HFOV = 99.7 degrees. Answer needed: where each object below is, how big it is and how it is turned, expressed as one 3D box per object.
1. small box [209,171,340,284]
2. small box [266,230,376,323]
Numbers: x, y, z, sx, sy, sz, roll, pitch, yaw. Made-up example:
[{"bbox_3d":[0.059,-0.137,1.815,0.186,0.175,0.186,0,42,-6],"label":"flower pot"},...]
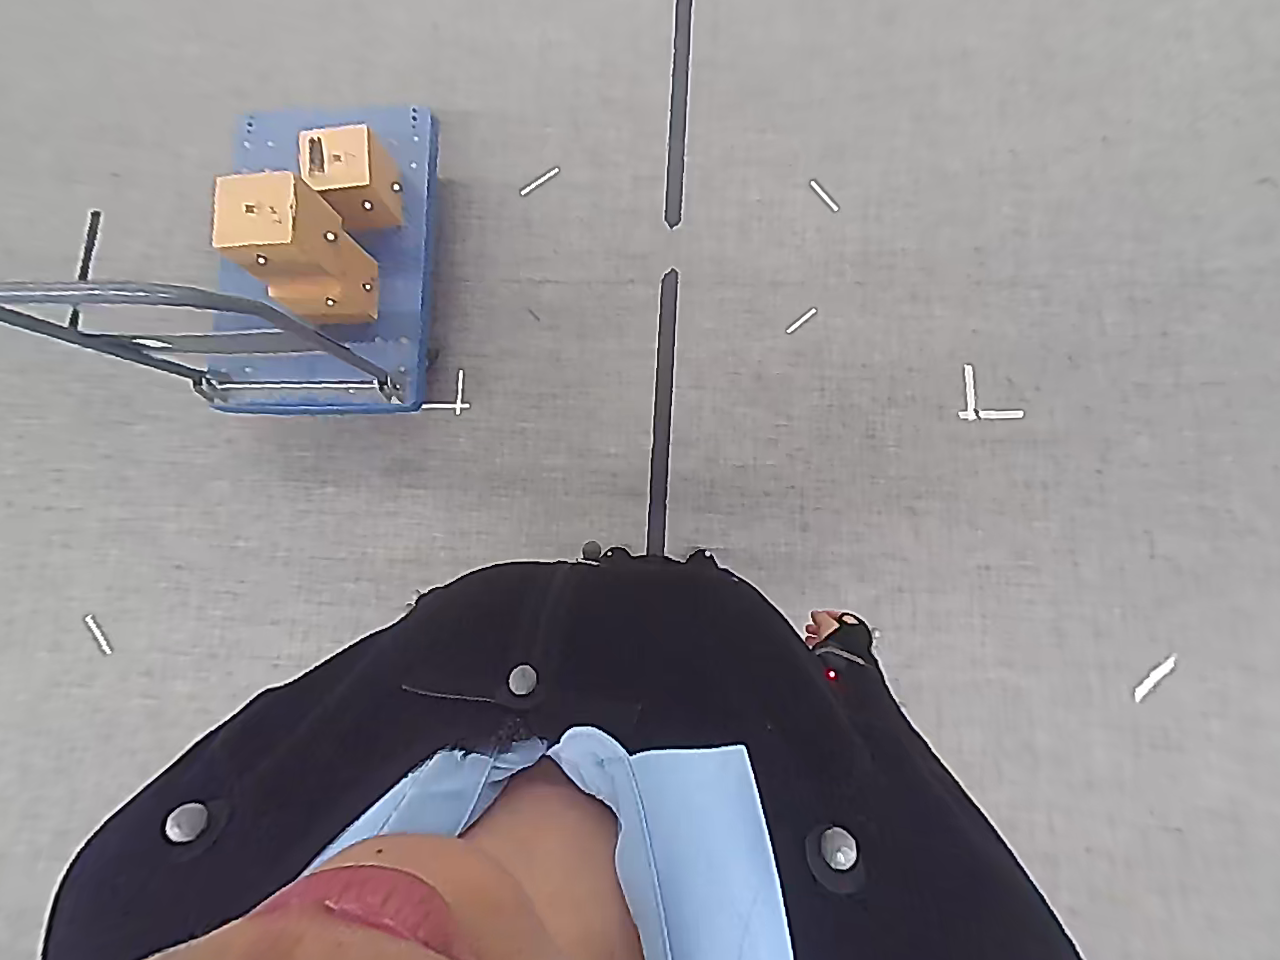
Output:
[{"bbox_3d":[-0.805,-0.553,1.203,0.179,0.176,0.168,-2,83,2],"label":"small box"},{"bbox_3d":[-0.798,-0.506,1.363,0.179,0.176,0.168,-3,83,2],"label":"small box"}]
